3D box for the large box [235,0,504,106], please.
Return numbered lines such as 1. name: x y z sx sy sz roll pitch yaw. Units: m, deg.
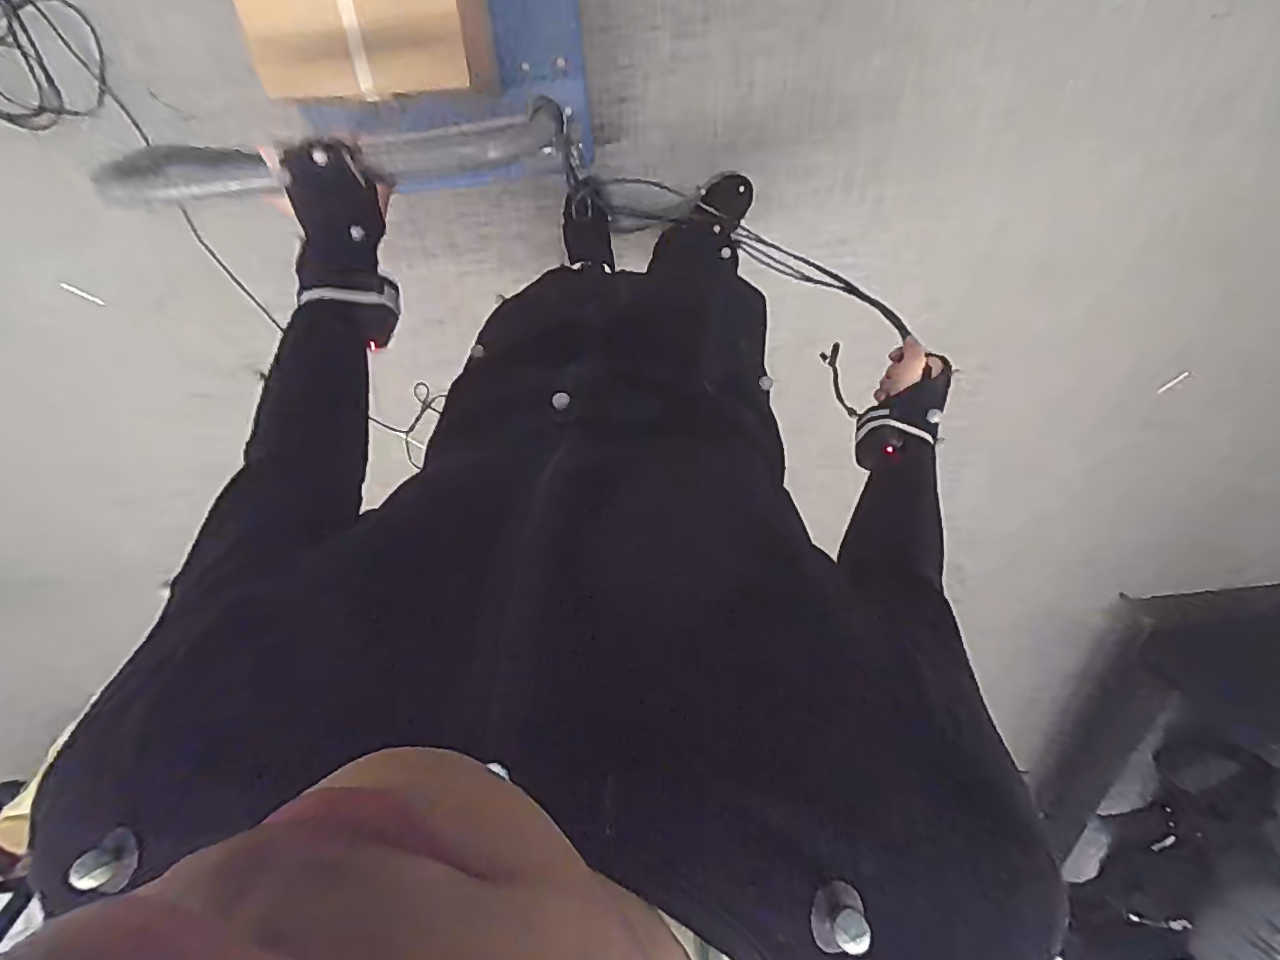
1. large box: -0.422 -0.832 0.830 0.320 0.320 0.408 -4 123 -1
